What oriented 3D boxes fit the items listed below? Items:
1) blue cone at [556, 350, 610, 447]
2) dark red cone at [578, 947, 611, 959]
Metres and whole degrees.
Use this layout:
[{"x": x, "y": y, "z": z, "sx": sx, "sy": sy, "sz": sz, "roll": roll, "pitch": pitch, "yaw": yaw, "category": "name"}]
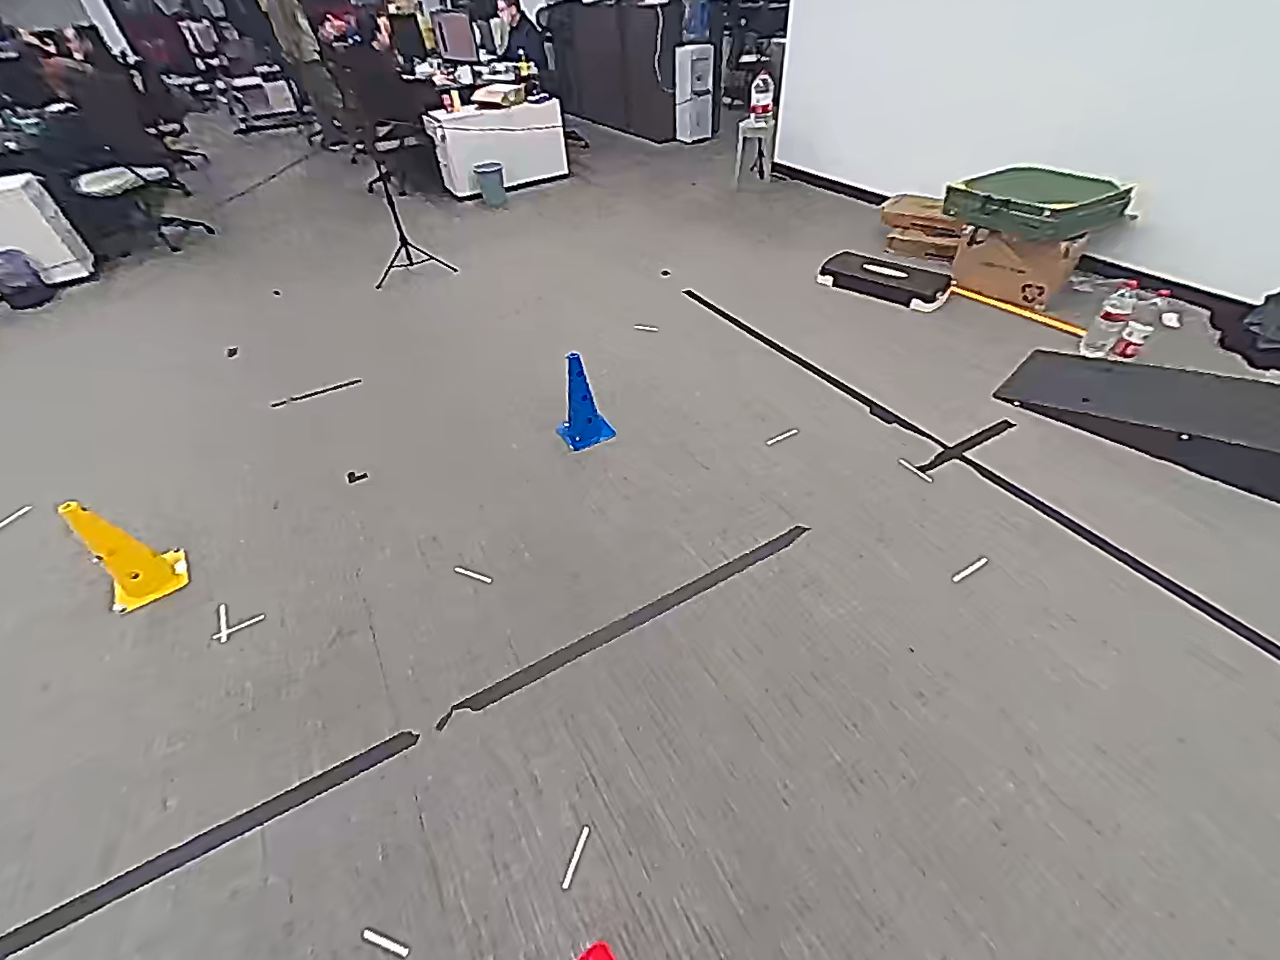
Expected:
[{"x": -0.243, "y": -0.330, "z": 2.114, "sx": 0.193, "sy": 0.380, "sz": 0.192, "roll": -23, "pitch": 45, "yaw": -19, "category": "blue cone"}, {"x": -0.107, "y": 0.849, "z": 0.814, "sx": 0.202, "sy": 0.394, "sz": 0.201, "roll": -30, "pitch": 48, "yaw": -24, "category": "dark red cone"}]
